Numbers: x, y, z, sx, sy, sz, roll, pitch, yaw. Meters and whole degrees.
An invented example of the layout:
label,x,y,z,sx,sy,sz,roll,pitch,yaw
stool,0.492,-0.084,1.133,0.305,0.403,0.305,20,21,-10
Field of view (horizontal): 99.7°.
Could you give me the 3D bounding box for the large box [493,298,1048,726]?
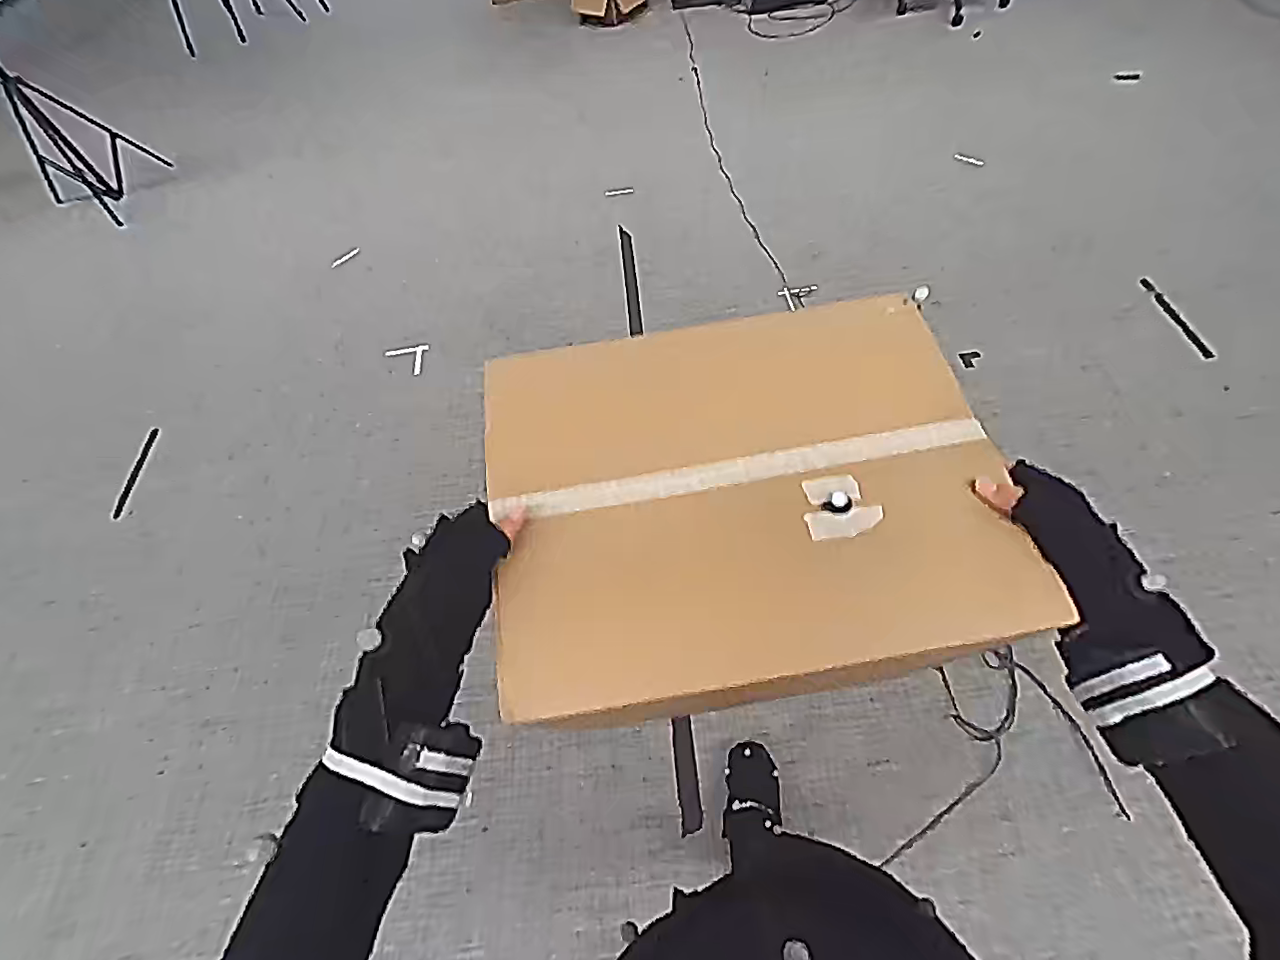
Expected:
label,x,y,z,sx,sy,sz,roll,pitch,yaw
large box,0.086,0.058,0.586,0.408,0.320,0.320,-10,64,-1
